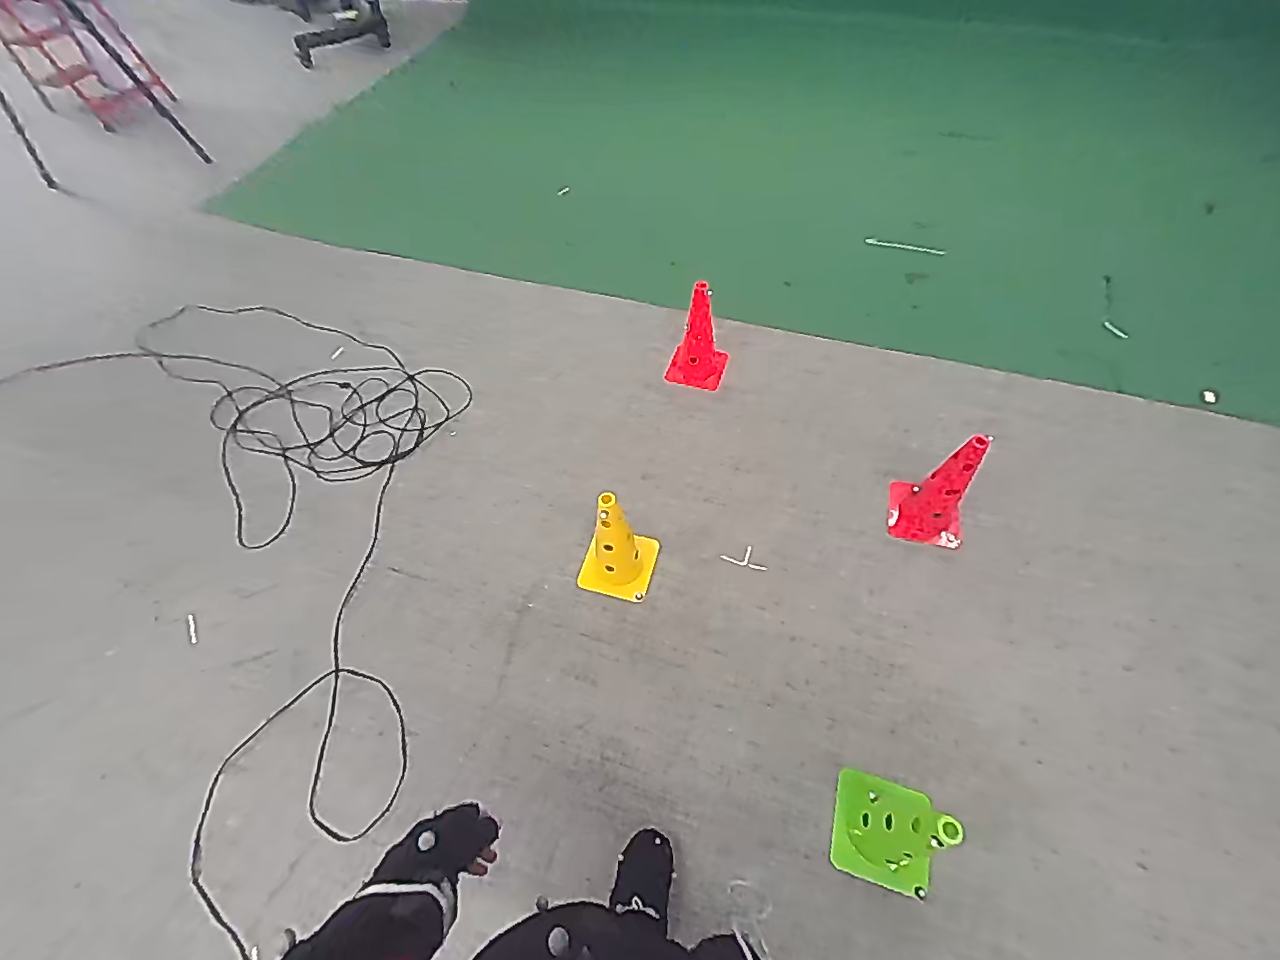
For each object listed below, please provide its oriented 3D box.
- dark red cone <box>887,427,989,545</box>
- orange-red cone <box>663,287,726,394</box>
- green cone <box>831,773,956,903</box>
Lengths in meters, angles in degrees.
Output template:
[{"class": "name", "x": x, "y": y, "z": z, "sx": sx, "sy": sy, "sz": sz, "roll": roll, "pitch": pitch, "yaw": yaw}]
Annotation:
[{"class": "dark red cone", "x": 0.822, "y": -0.001, "z": 1.443, "sx": 0.202, "sy": 0.394, "sz": 0.201, "roll": 10, "pitch": 56, "yaw": 10}, {"class": "orange-red cone", "x": 0.189, "y": -0.493, "z": 1.836, "sx": 0.198, "sy": 0.360, "sz": 0.199, "roll": 15, "pitch": 59, "yaw": 14}, {"class": "green cone", "x": 0.517, "y": 0.675, "z": 1.036, "sx": 0.202, "sy": 0.368, "sz": 0.200, "roll": 13, "pitch": 57, "yaw": 13}]
